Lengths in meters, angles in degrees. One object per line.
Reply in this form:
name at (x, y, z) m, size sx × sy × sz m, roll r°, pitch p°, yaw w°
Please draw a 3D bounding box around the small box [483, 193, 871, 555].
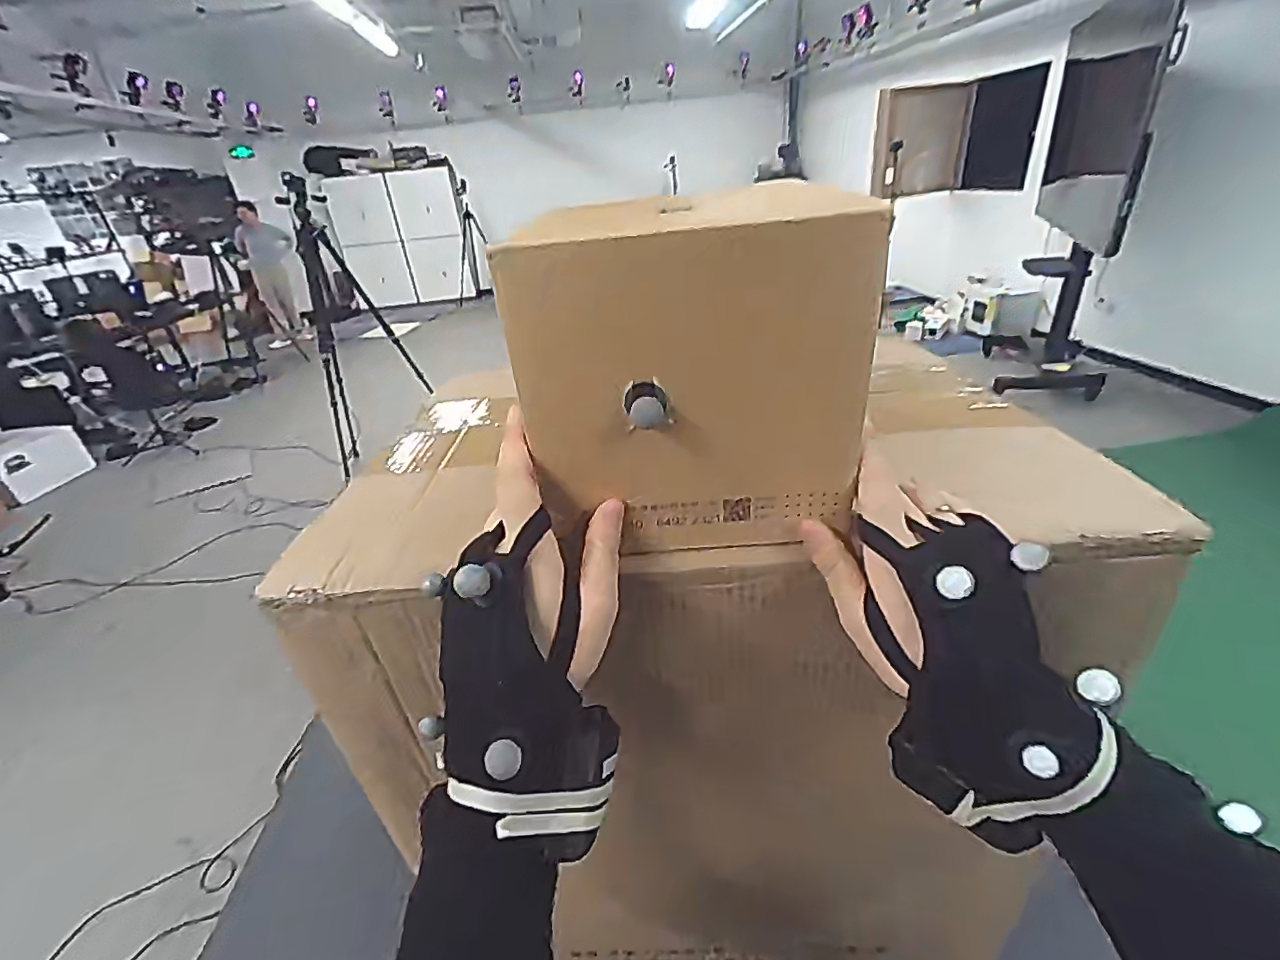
small box at (0.024, -0.066, 0.332) m, size 0.168 × 0.176 × 0.179 m, roll -4°, pitch 31°, yaw 4°
